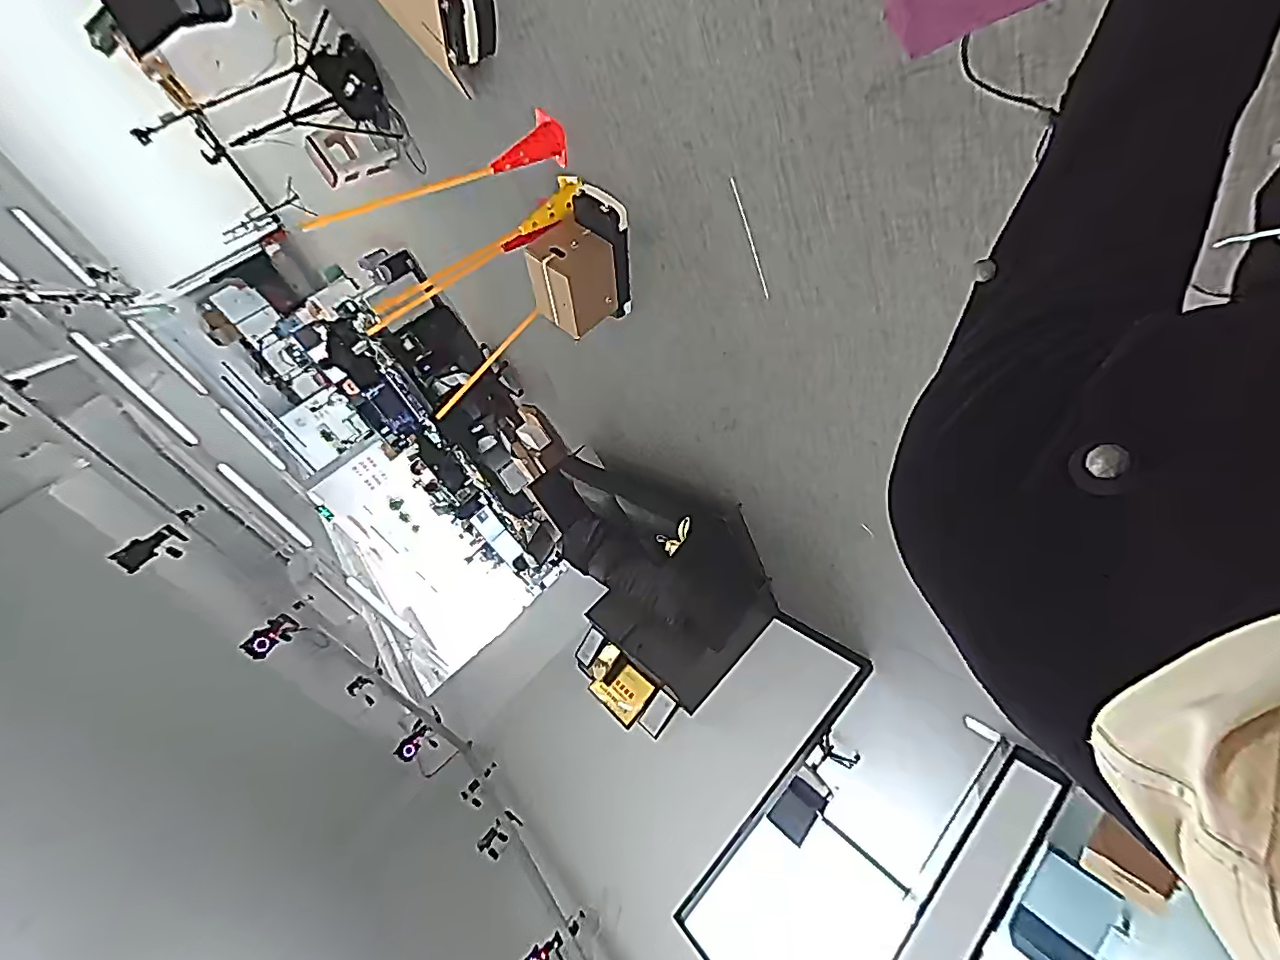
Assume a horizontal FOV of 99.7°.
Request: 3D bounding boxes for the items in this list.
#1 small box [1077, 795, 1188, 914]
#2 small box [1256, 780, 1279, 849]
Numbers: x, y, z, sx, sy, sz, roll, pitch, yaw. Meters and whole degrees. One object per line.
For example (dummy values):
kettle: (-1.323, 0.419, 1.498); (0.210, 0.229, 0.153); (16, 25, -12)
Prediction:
small box: (1.278, 0.966, 1.406); (0.168, 0.176, 0.179); (26, 152, 49)
small box: (1.666, 0.831, 1.308); (0.179, 0.176, 0.168); (27, 152, 50)
